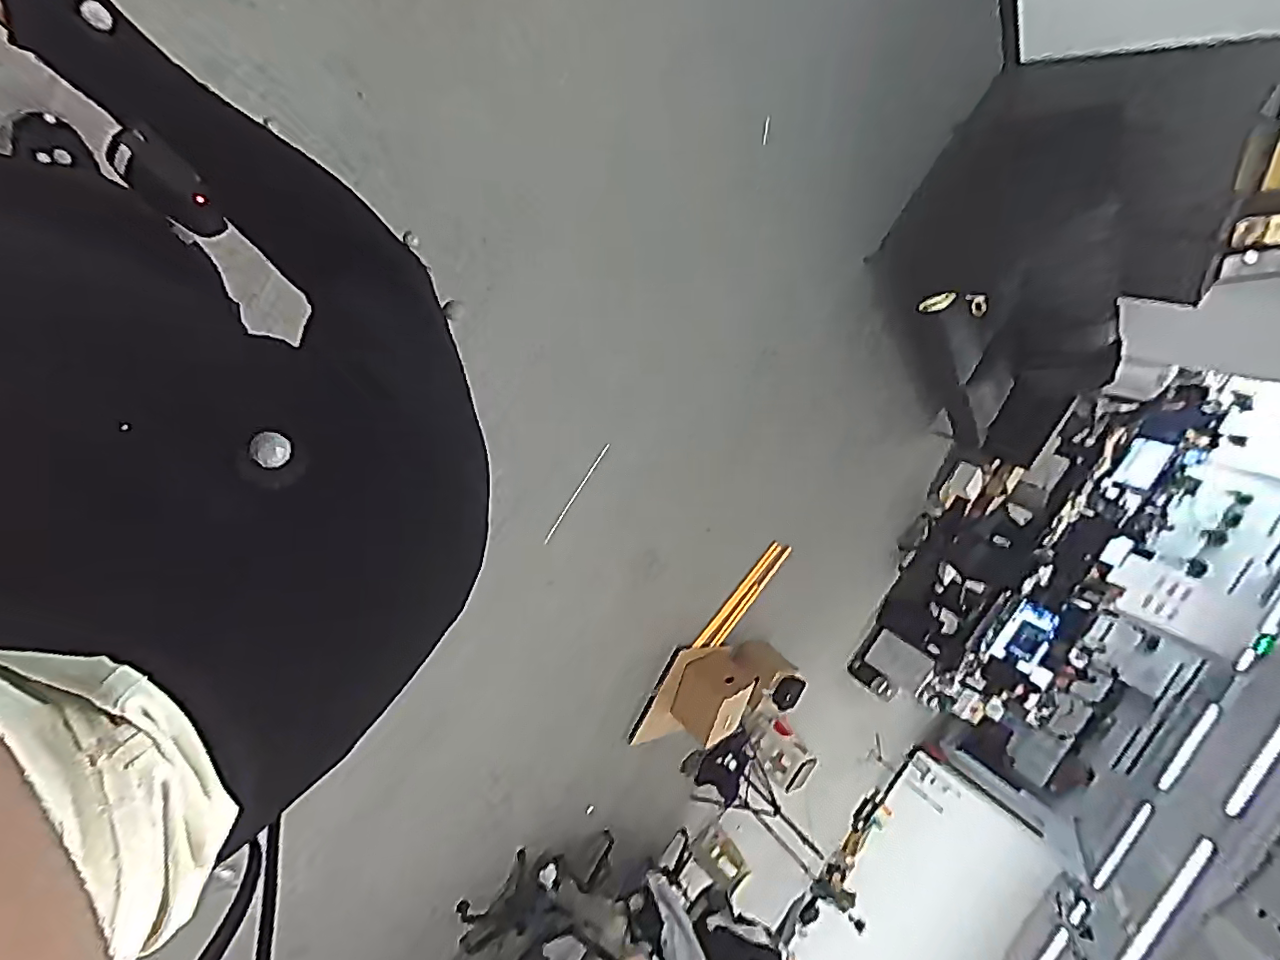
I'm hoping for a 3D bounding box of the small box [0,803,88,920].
[{"bbox_3d":[-0.900,0.581,0.737,0.168,0.176,0.179,30,93,-48],"label":"small box"}]

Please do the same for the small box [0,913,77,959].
[{"bbox_3d":[-0.800,0.648,0.624,0.168,0.176,0.179,30,93,-47],"label":"small box"}]
